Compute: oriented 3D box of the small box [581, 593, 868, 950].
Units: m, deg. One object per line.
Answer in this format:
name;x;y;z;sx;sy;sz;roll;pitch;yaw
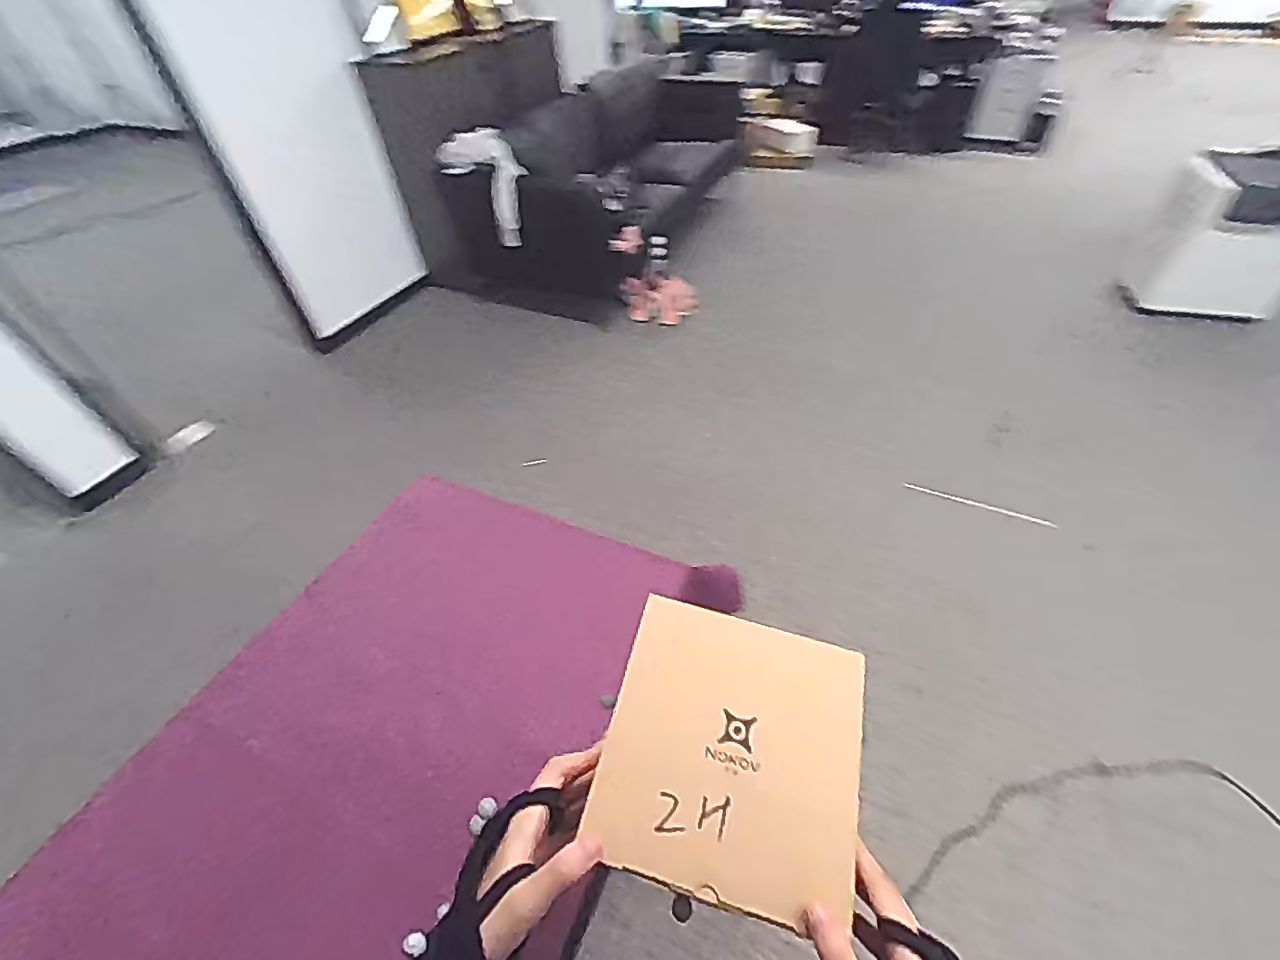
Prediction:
small box;0.062;0.221;0.429;0.168;0.176;0.179;15;57;9
